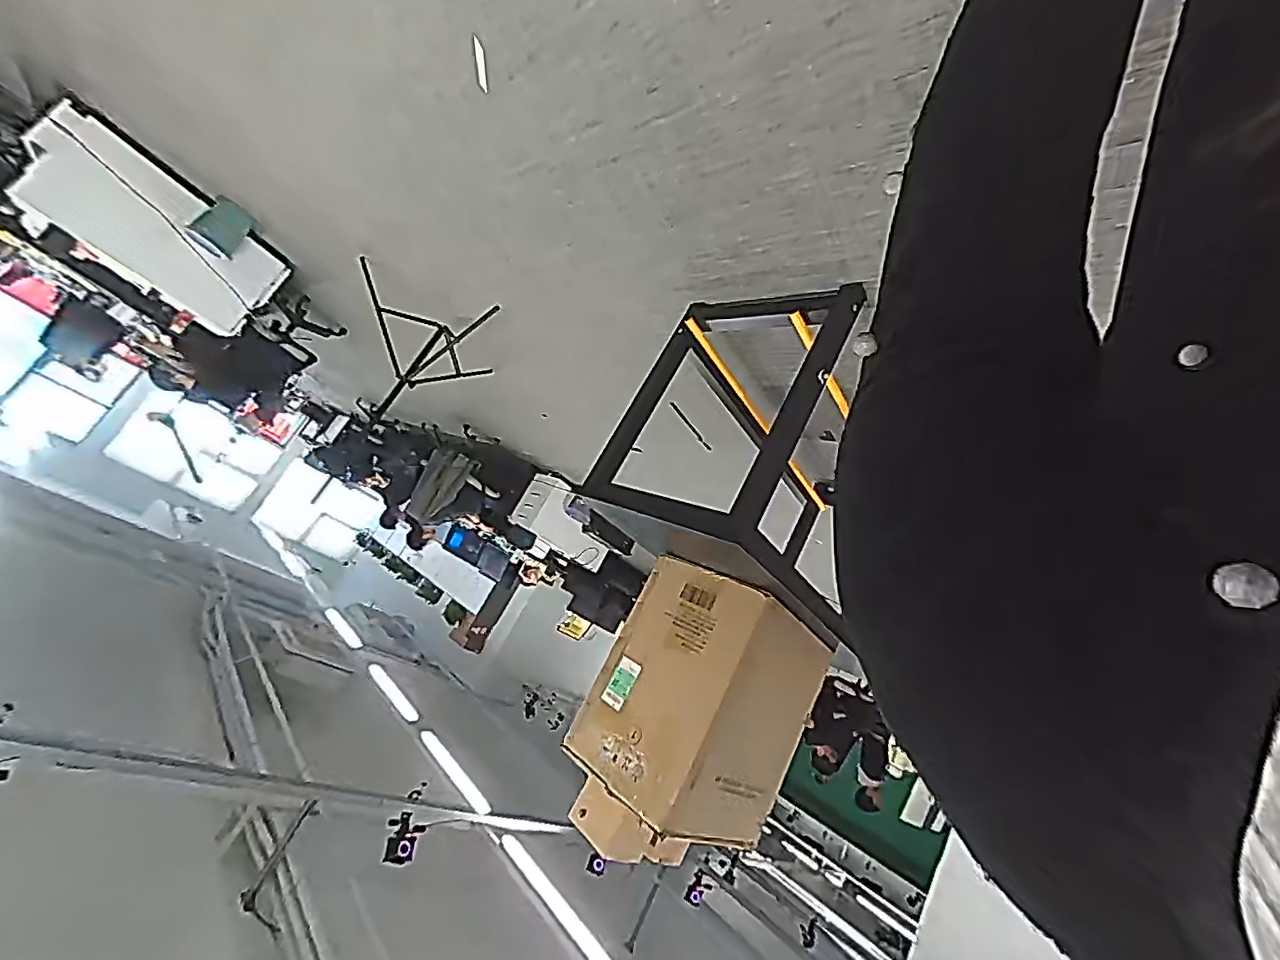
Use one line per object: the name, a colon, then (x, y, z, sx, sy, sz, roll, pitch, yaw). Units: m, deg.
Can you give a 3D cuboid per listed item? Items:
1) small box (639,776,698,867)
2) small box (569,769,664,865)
small box: (0.061, 1.066, 1.696, 0.179, 0.176, 0.168, 12, 157, 50)
small box: (-0.063, 0.951, 1.544, 0.179, 0.176, 0.168, 15, 160, 49)
